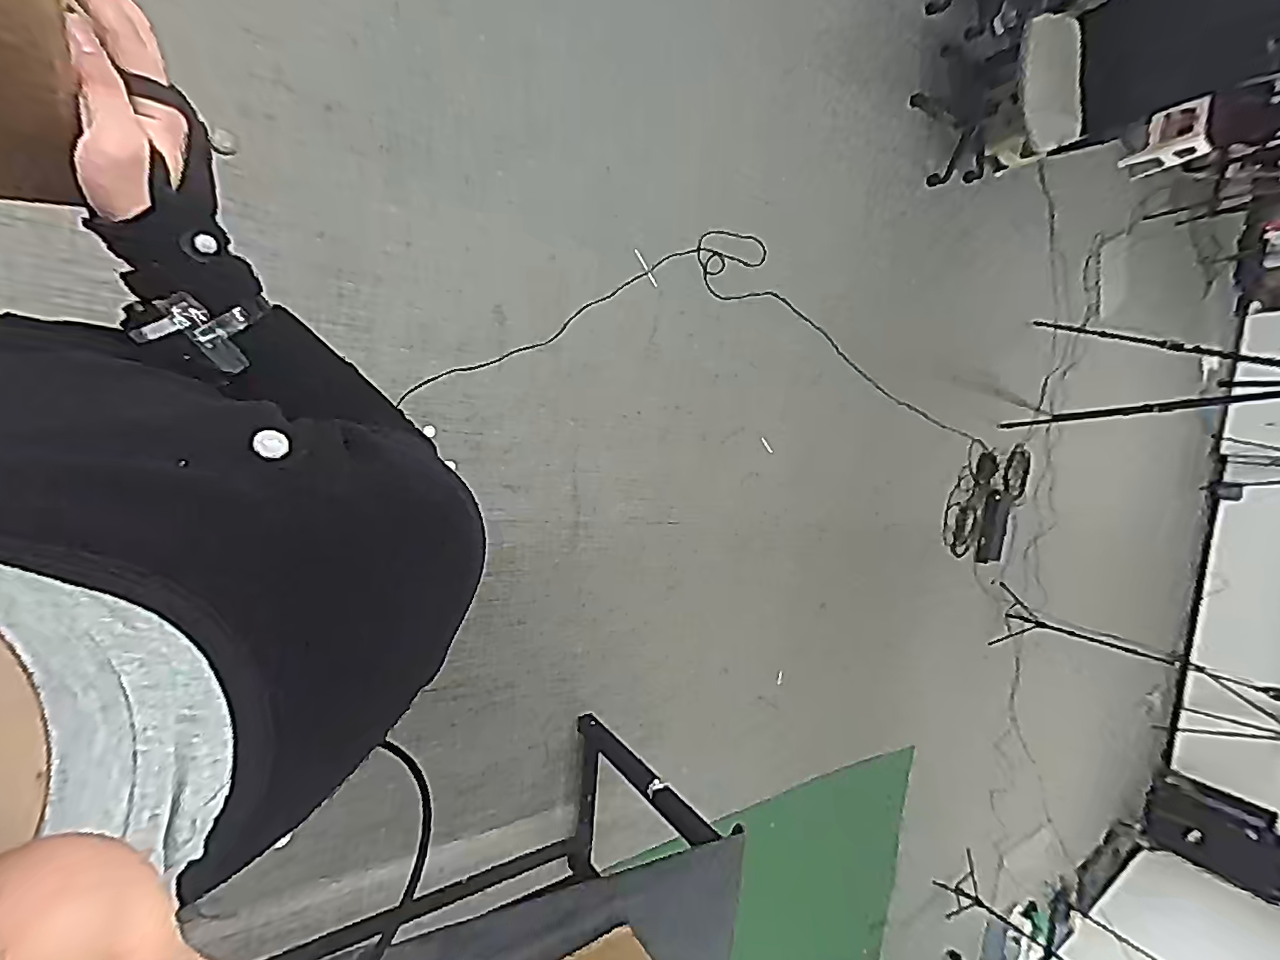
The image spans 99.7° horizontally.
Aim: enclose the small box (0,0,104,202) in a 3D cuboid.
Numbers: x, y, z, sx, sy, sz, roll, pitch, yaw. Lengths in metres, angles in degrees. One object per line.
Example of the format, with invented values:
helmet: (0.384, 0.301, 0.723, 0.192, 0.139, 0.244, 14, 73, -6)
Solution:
small box: (-0.394, -0.259, 0.249, 0.179, 0.176, 0.168, -16, 86, -43)
